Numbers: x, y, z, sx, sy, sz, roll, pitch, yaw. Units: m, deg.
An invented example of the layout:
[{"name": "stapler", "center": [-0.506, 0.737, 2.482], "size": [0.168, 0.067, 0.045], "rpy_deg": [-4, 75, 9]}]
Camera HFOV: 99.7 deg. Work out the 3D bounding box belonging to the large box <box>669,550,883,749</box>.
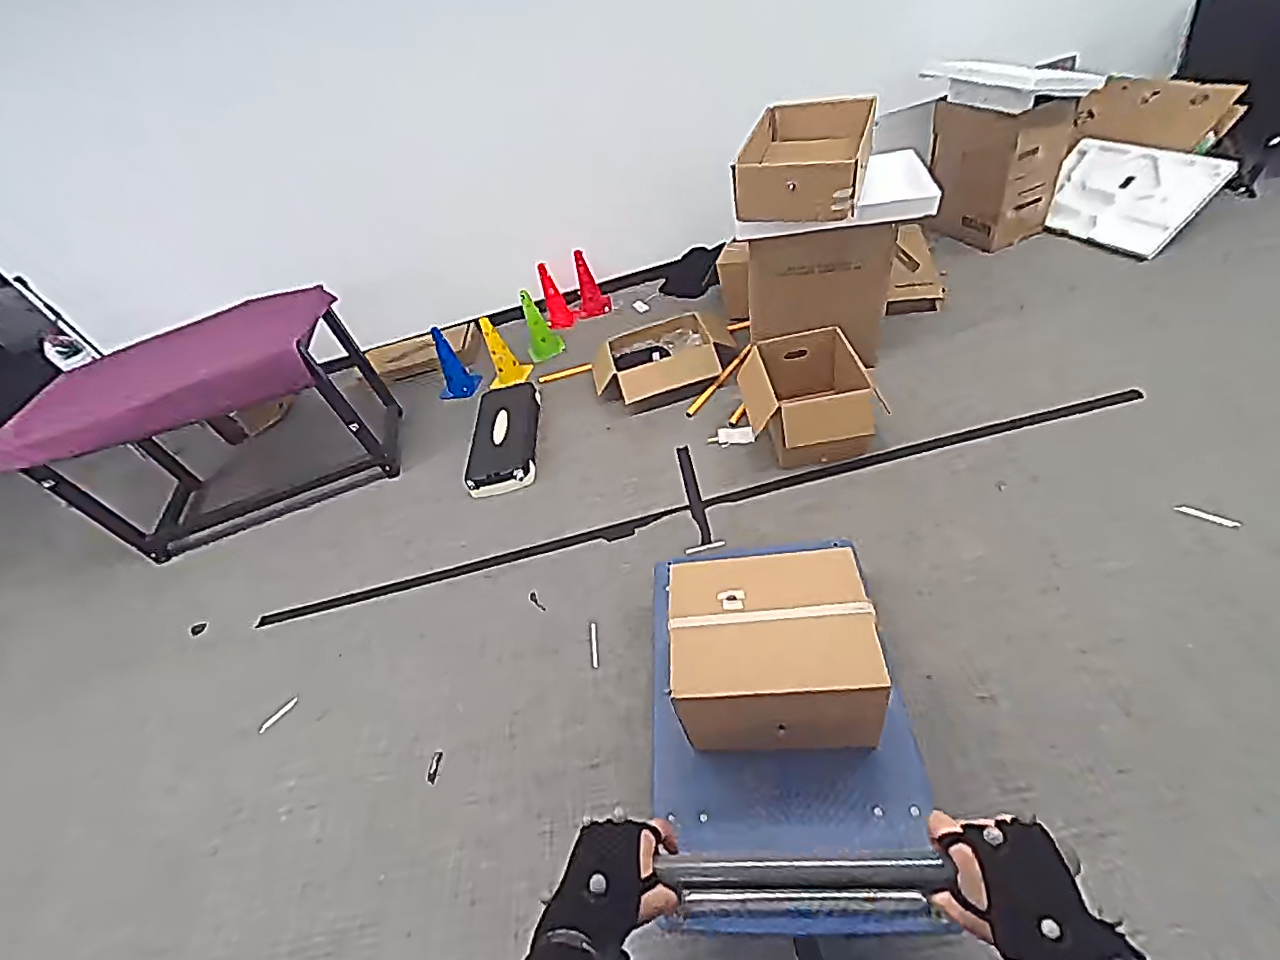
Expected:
[{"name": "large box", "center": [0.294, 0.395, 1.232], "size": [0.408, 0.320, 0.320], "rpy_deg": [-9, 44, 11]}]
